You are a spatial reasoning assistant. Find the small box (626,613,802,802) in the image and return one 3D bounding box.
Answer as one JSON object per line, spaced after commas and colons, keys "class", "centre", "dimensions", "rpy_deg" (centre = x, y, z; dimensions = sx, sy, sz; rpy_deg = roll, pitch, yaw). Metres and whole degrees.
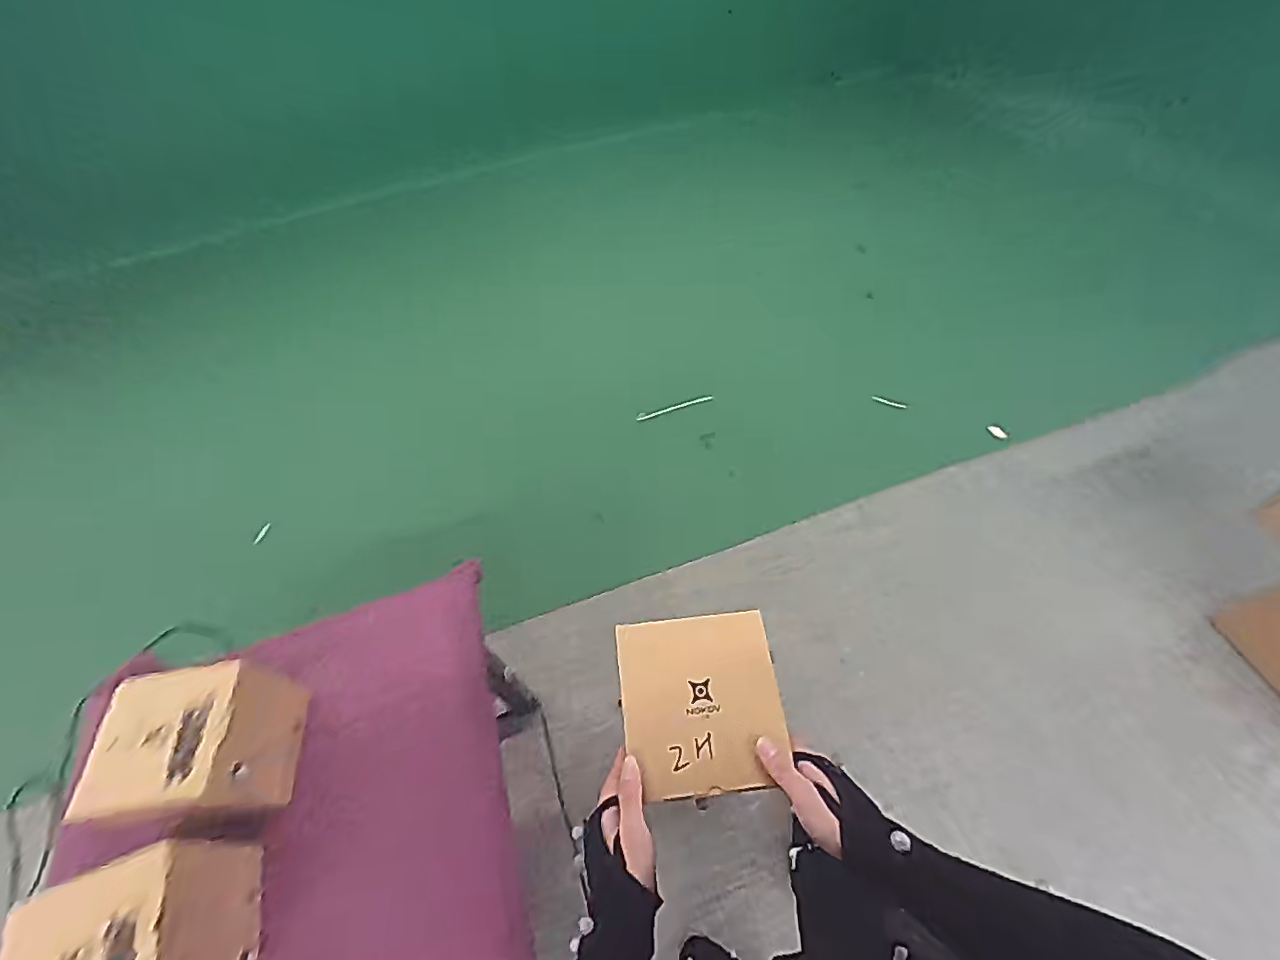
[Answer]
{"class": "small box", "centre": [0.070, 0.268, 0.631], "dimensions": [0.168, 0.176, 0.179], "rpy_deg": [-4, 61, -3]}
